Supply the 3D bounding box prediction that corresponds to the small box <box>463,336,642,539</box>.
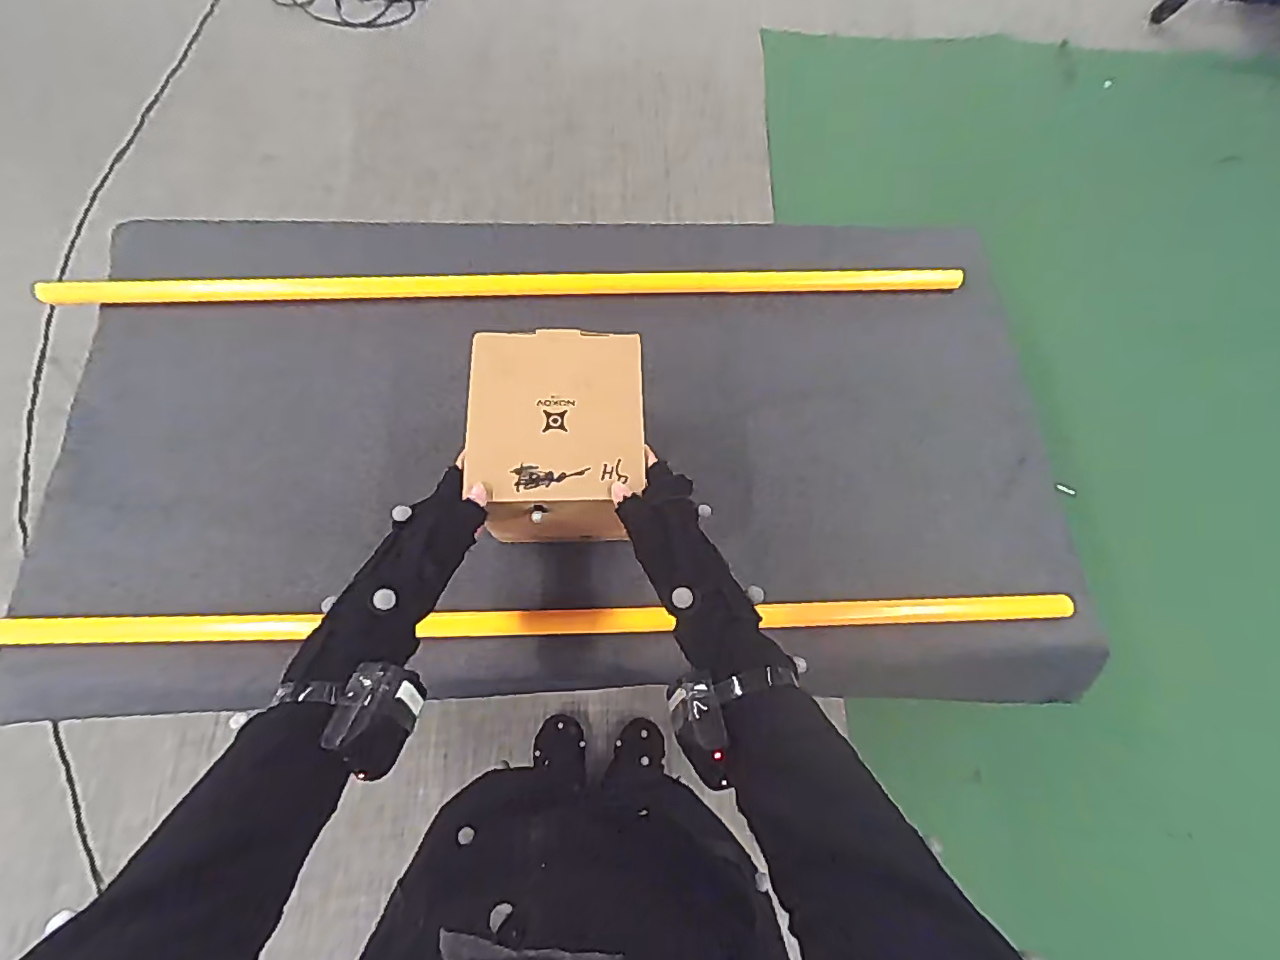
[{"bbox_3d":[-0.085,-0.037,0.595,0.168,0.176,0.179,0,73,-3],"label":"small box"}]
